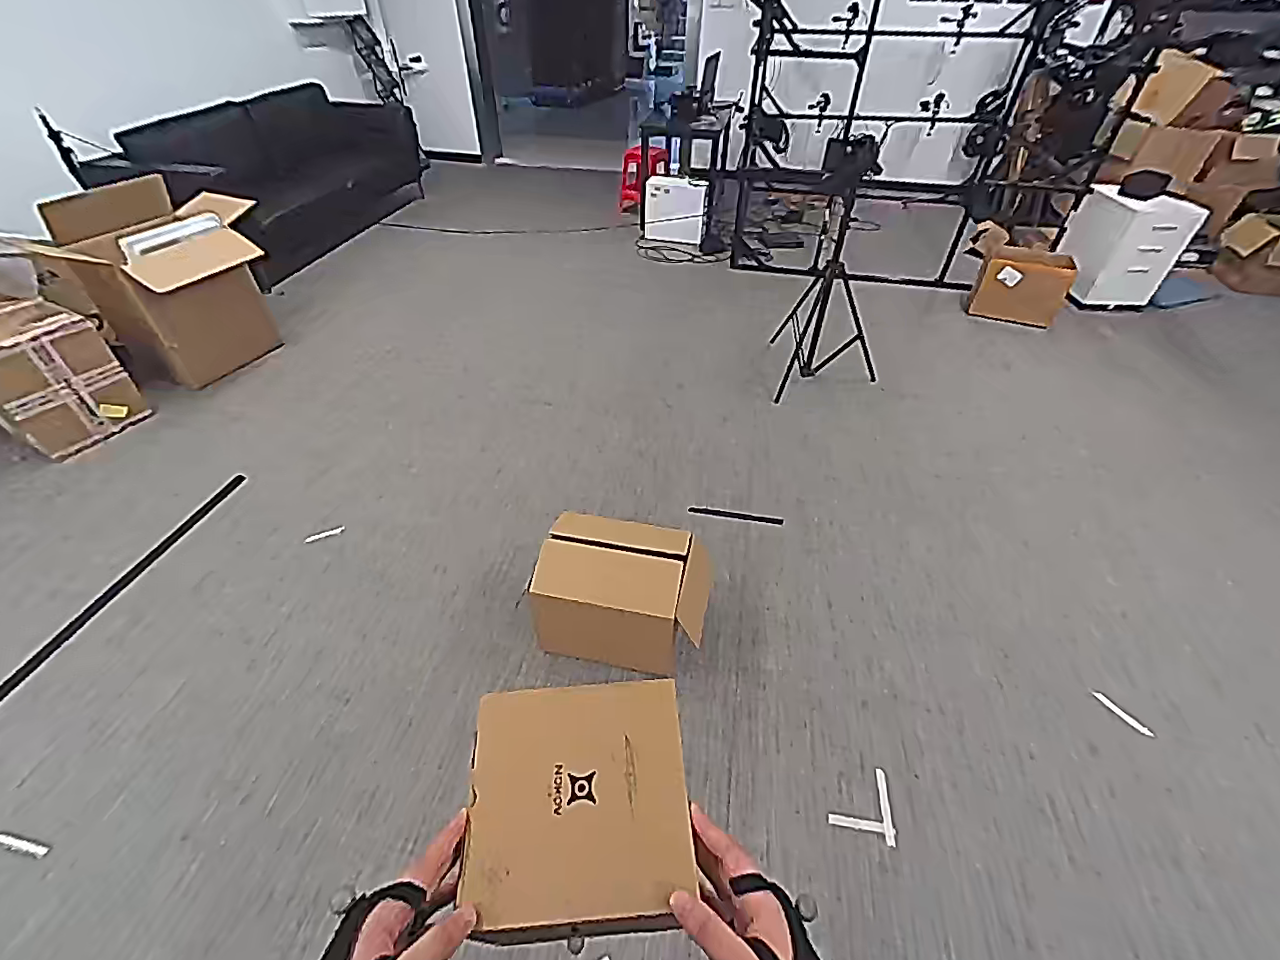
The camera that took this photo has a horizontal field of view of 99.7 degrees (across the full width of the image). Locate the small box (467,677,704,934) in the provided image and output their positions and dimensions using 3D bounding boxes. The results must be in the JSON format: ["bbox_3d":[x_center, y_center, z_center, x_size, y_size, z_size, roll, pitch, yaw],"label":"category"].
[{"bbox_3d":[-0.042,0.302,0.499,0.179,0.176,0.168,-4,48,-3],"label":"small box"}]
